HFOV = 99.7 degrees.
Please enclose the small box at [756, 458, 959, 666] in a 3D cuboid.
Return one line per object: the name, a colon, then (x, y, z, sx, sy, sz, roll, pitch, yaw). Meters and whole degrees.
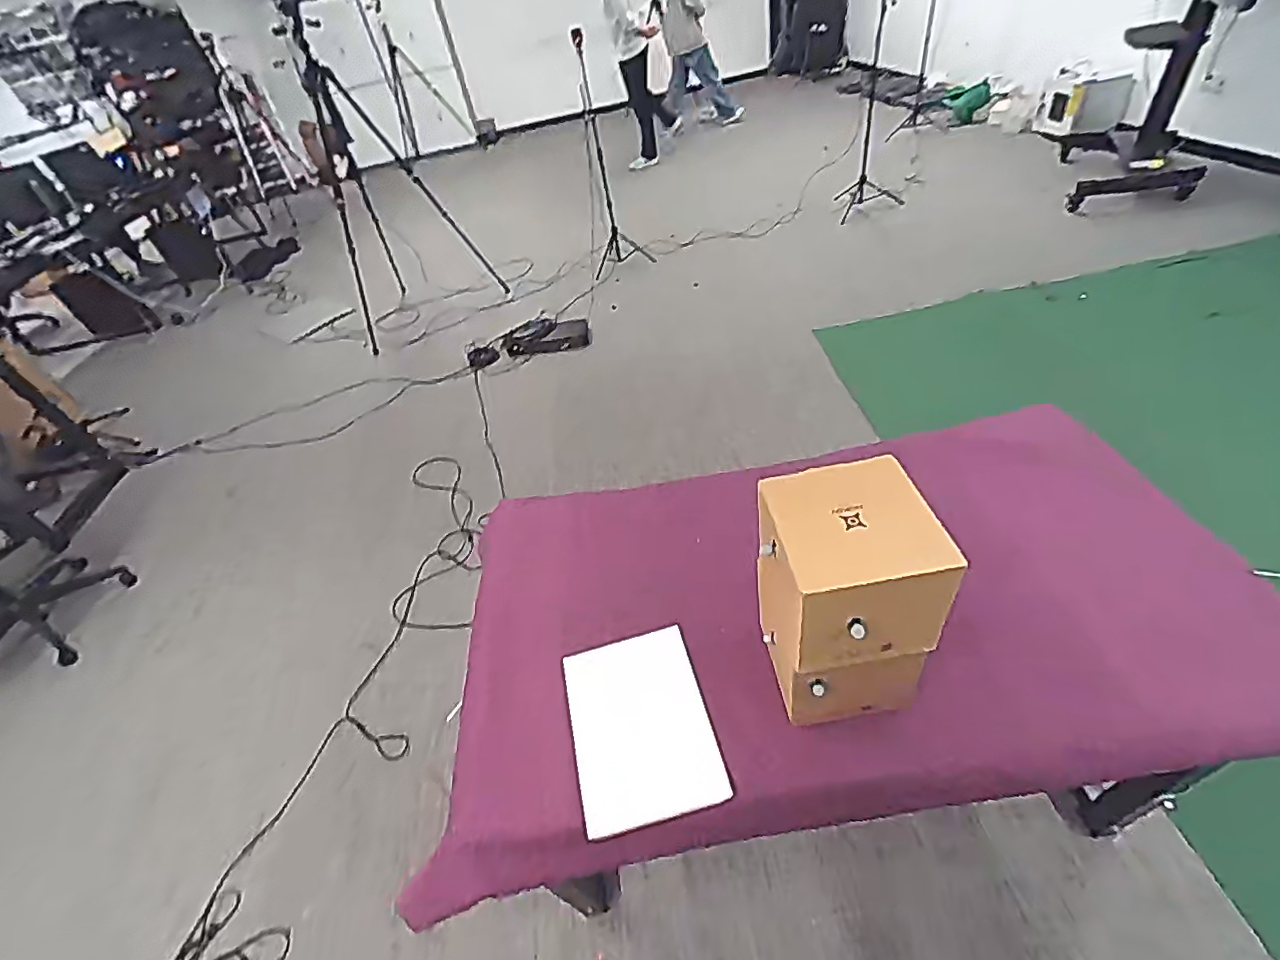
small box: (0.244, 0.104, 0.648, 0.168, 0.176, 0.179, -11, 41, 3)
